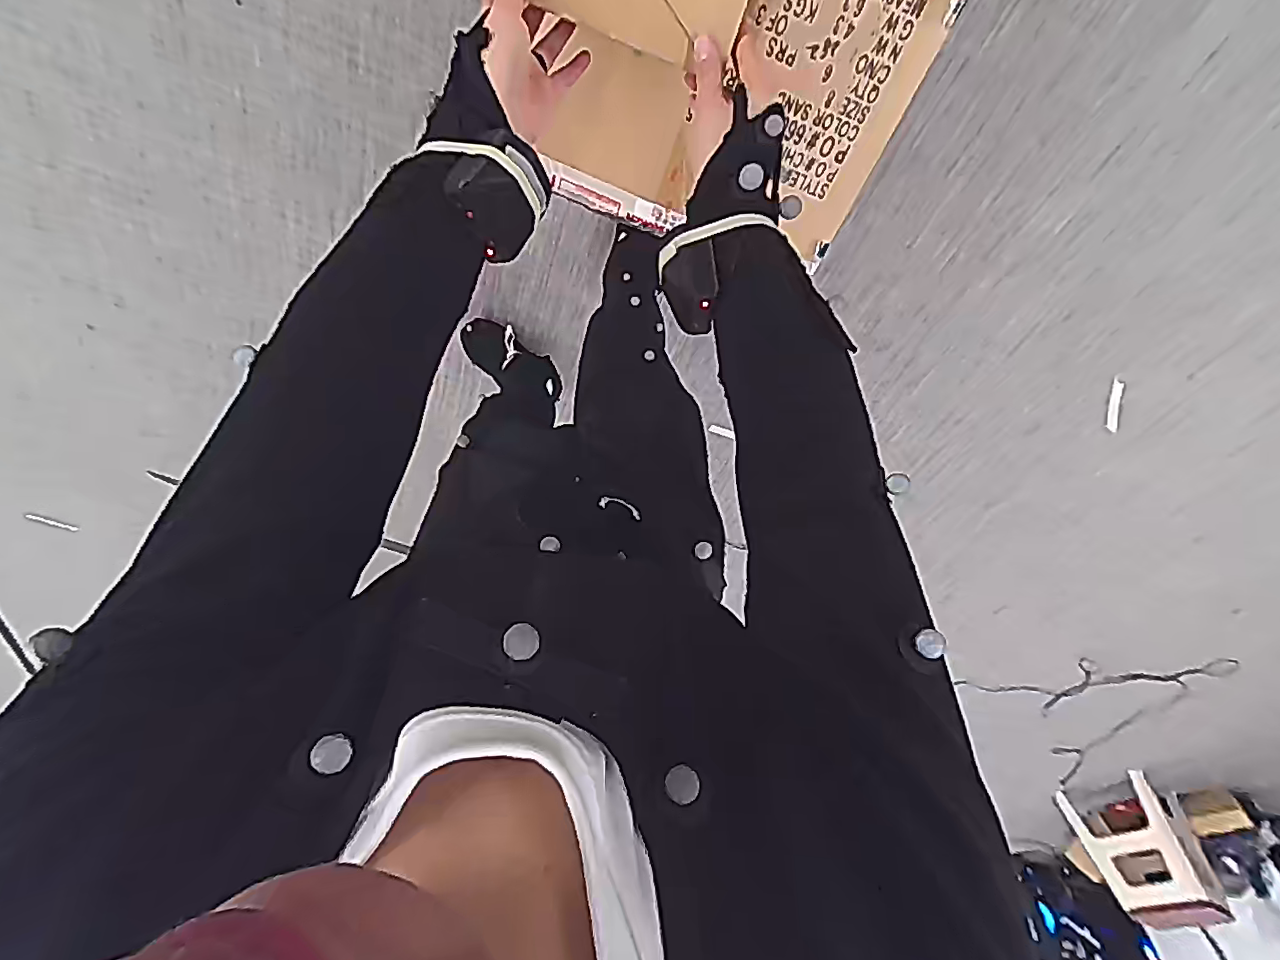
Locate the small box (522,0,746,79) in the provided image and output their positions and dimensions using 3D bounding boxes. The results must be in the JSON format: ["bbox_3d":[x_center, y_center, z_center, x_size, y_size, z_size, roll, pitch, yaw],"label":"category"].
[{"bbox_3d":[0.011,-0.432,0.406,0.179,0.176,0.168,17,131,-8],"label":"small box"}]
